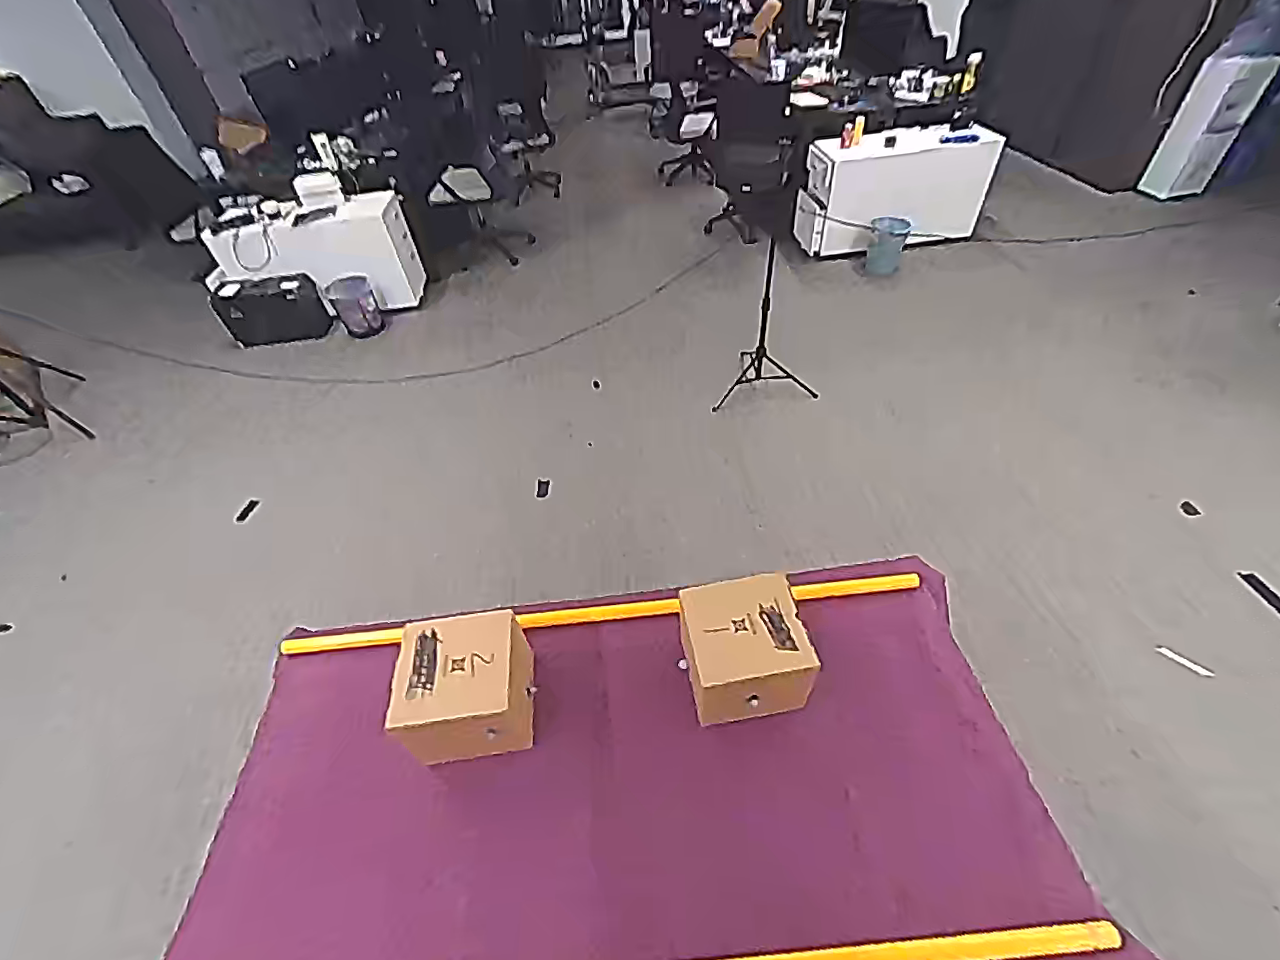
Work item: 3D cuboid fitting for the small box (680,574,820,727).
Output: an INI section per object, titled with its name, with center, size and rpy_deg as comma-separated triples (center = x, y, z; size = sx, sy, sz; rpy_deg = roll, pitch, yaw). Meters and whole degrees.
[small box]
center = 0.166, 0.276, 0.872
size = 0.179, 0.176, 0.168
rpy_deg = -10, 47, -2
